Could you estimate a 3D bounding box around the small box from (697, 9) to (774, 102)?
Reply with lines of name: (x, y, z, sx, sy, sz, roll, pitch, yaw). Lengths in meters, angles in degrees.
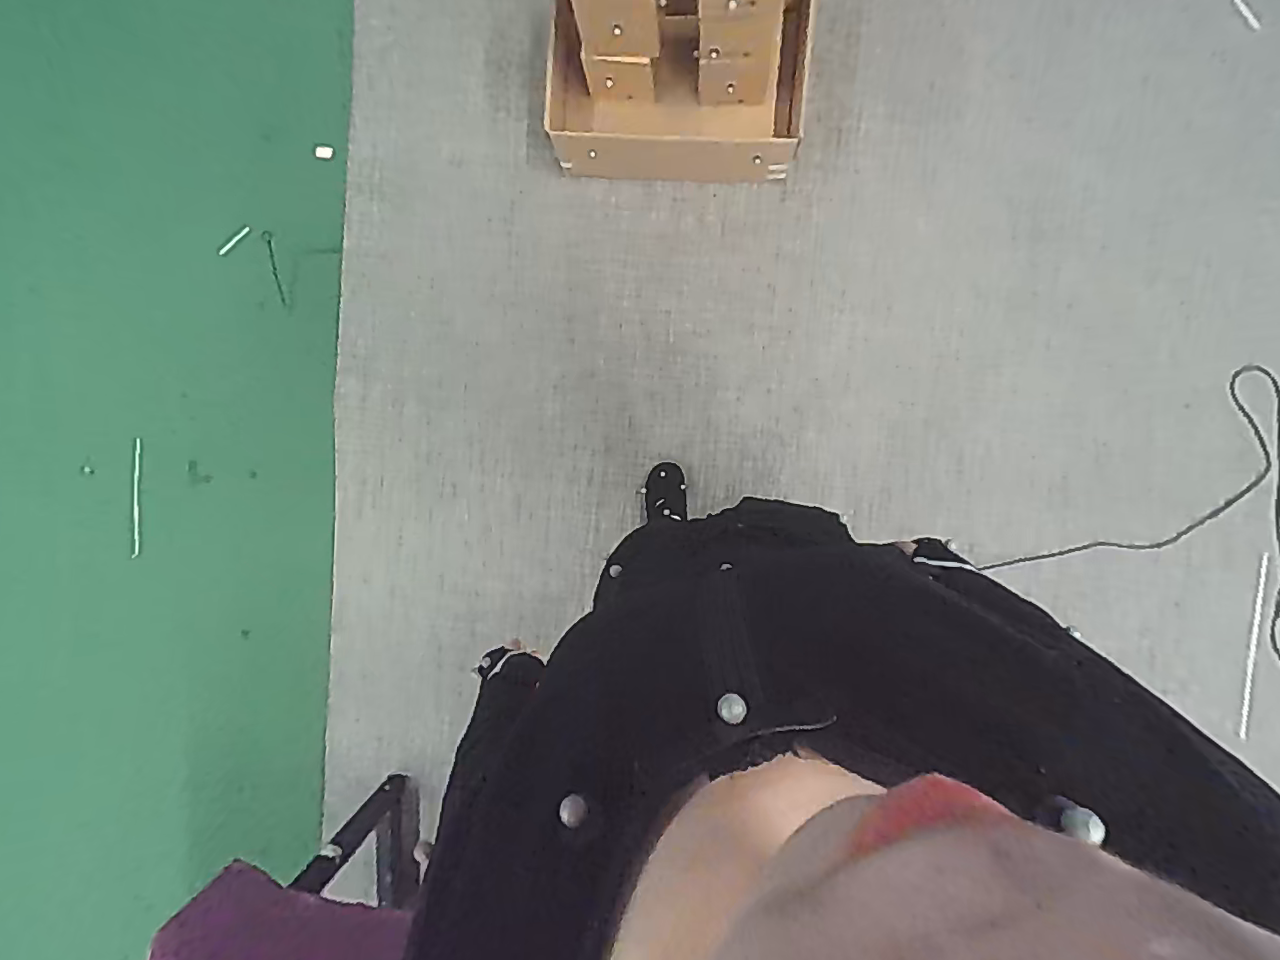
small box: (0.227, -1.044, 1.298, 0.168, 0.176, 0.179, 4, 95, 6)

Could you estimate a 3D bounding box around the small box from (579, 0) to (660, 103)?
small box: (-0.044, -1.066, 1.325, 0.168, 0.176, 0.179, 8, 94, 4)

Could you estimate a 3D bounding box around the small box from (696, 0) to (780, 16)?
small box: (0.183, -0.997, 0.976, 0.168, 0.176, 0.179, 1, 95, 7)
